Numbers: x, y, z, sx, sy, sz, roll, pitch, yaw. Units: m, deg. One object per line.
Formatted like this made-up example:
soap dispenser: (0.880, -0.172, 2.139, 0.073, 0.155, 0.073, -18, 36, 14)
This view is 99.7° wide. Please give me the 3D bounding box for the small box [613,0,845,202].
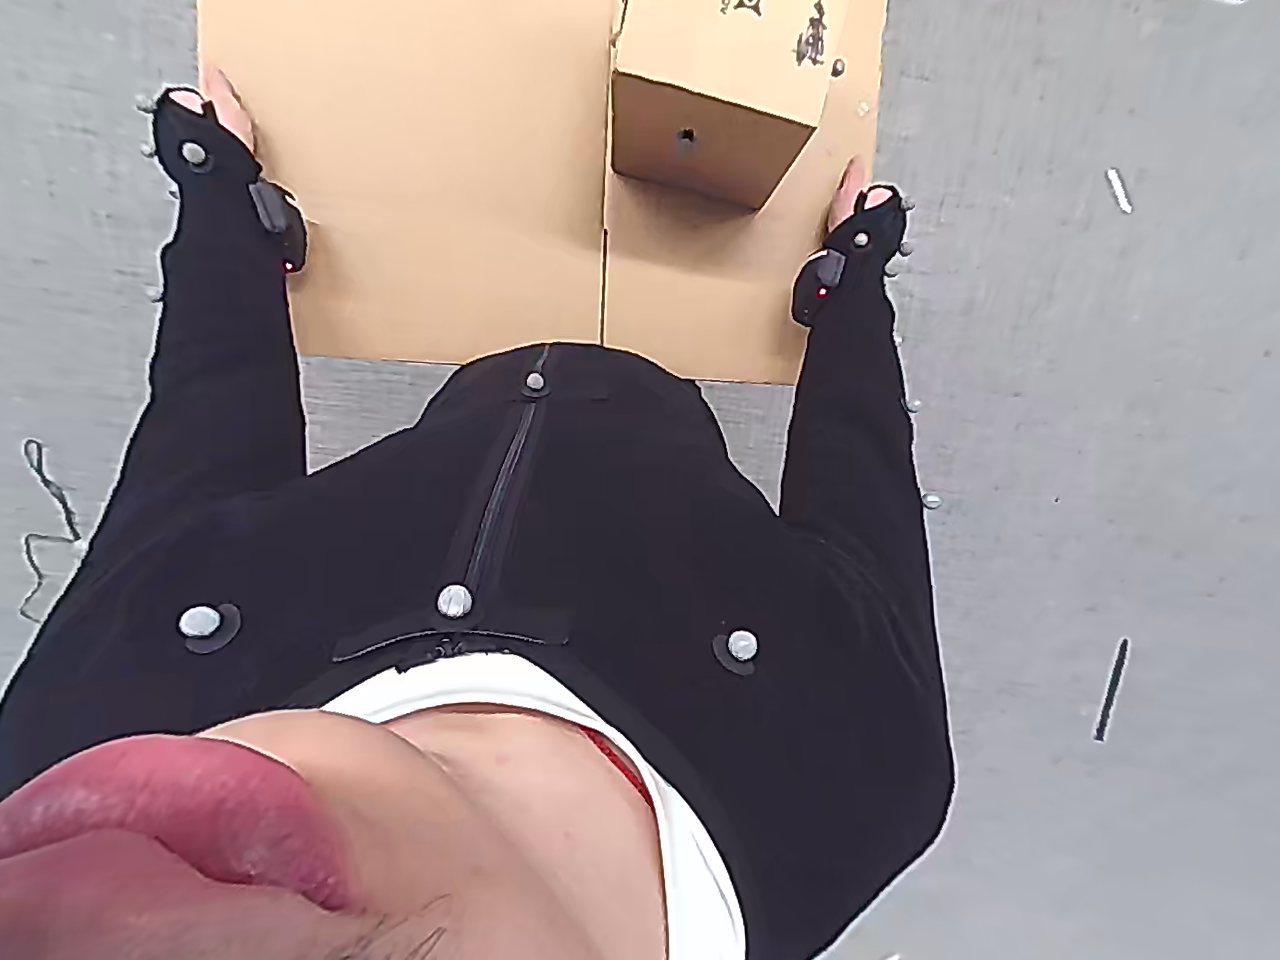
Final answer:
small box: (0.077, -0.397, 0.519, 0.179, 0.176, 0.168, 13, 95, -3)
